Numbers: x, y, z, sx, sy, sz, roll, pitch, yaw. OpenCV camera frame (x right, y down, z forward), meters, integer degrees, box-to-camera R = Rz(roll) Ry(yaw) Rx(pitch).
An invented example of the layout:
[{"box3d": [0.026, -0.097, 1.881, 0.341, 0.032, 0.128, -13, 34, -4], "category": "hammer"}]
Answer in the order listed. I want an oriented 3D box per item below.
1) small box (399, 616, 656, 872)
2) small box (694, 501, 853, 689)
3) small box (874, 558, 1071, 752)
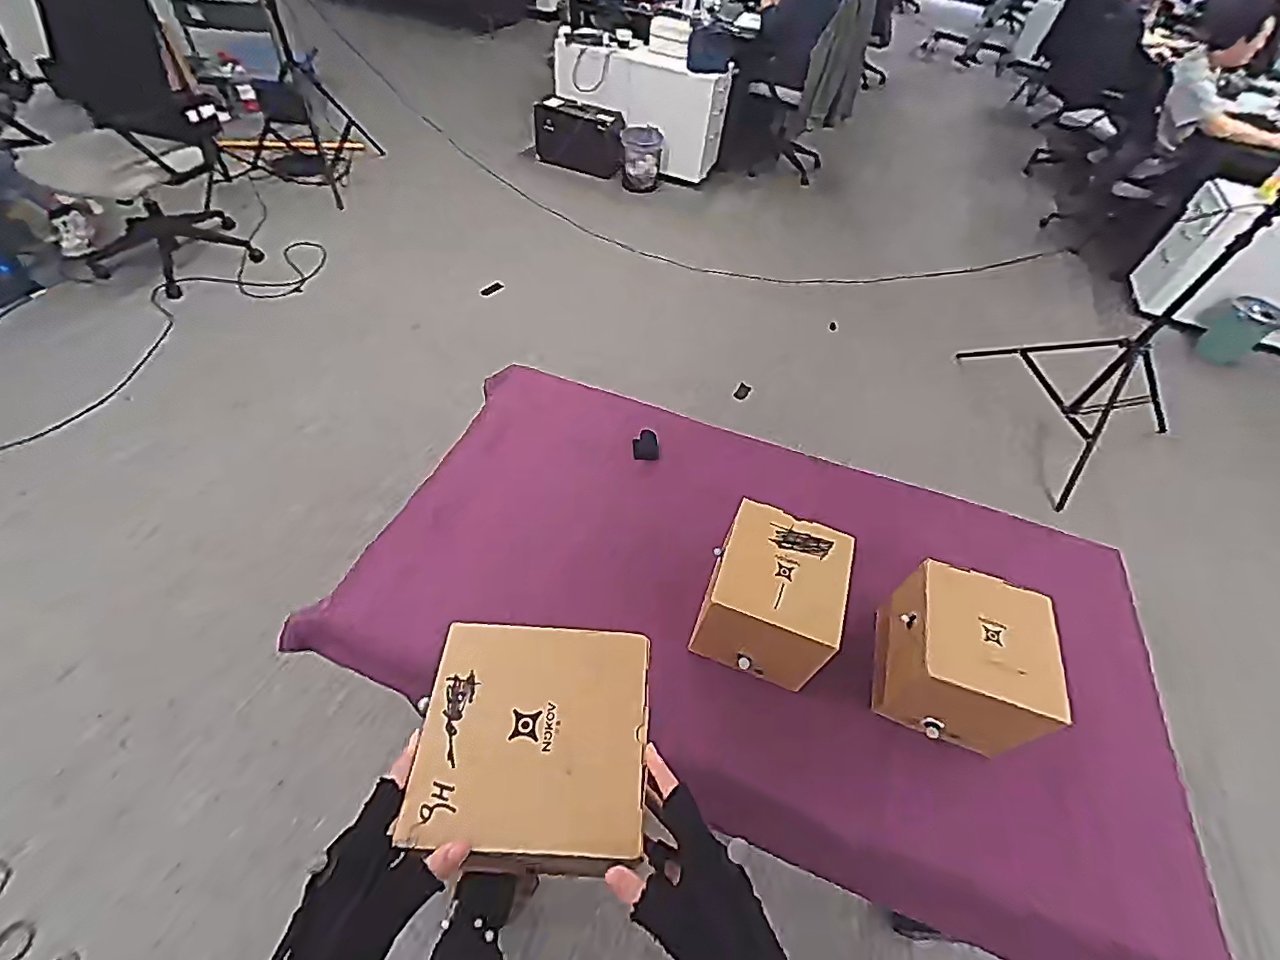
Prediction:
[{"box3d": [-0.084, 0.242, 0.487, 0.179, 0.176, 0.168, 5, 49, -2], "category": "small box"}, {"box3d": [0.186, 0.167, 0.776, 0.168, 0.176, 0.179, 19, 51, 9], "category": "small box"}, {"box3d": [0.439, 0.243, 0.747, 0.168, 0.176, 0.179, 17, 51, 8], "category": "small box"}]
